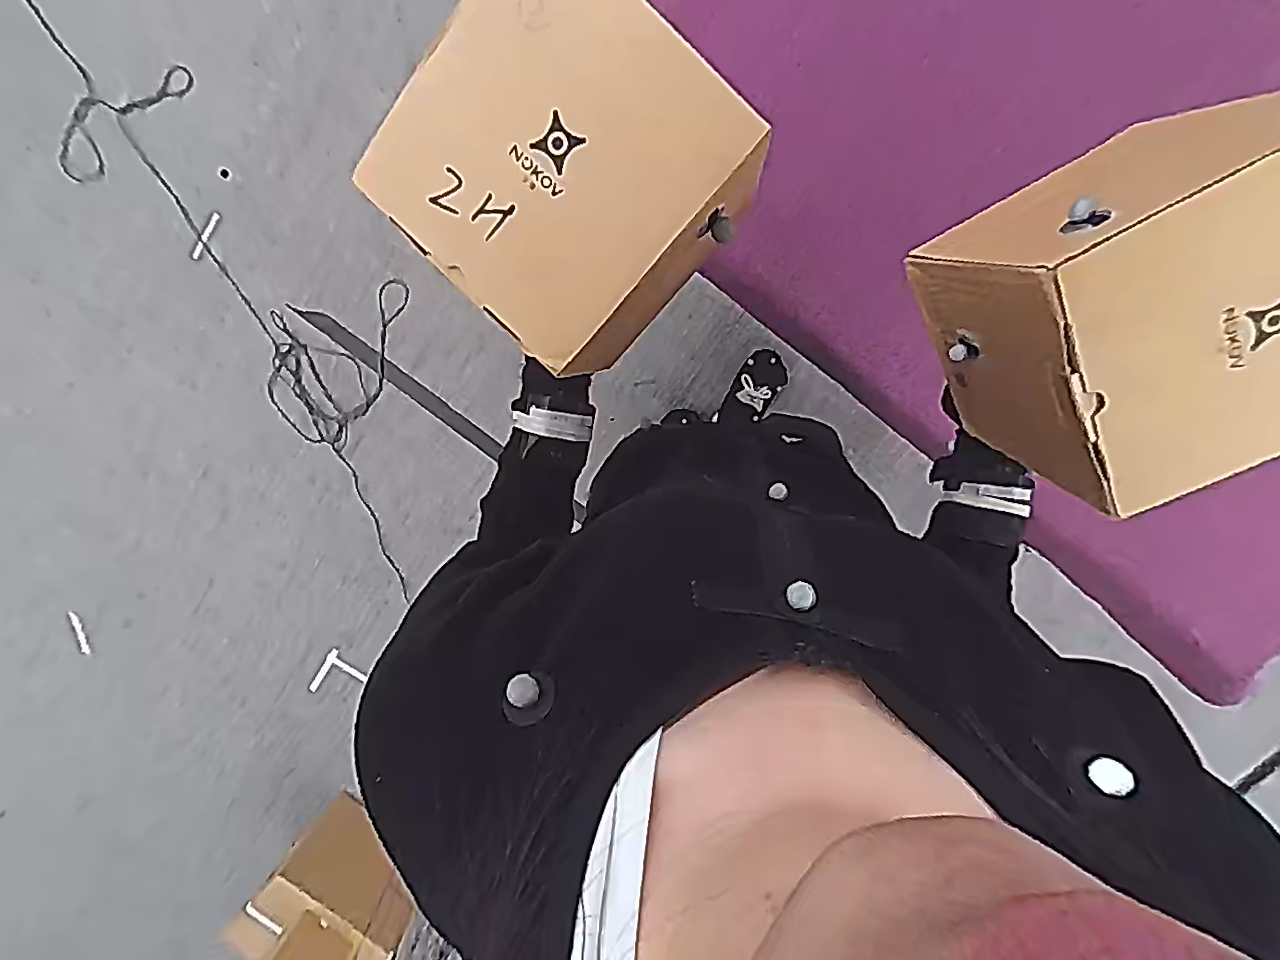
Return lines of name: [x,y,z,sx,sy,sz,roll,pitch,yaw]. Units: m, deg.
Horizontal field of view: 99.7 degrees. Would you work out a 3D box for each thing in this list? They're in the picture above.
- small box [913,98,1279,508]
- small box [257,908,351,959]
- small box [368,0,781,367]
small box: [0.319,-0.118,0.353,0.179,0.176,0.168,-28,112,13]
small box: [-0.928,1.317,1.454,0.179,0.176,0.168,45,100,-6]
small box: [-0.032,-0.200,0.372,0.168,0.176,0.179,43,105,-3]
